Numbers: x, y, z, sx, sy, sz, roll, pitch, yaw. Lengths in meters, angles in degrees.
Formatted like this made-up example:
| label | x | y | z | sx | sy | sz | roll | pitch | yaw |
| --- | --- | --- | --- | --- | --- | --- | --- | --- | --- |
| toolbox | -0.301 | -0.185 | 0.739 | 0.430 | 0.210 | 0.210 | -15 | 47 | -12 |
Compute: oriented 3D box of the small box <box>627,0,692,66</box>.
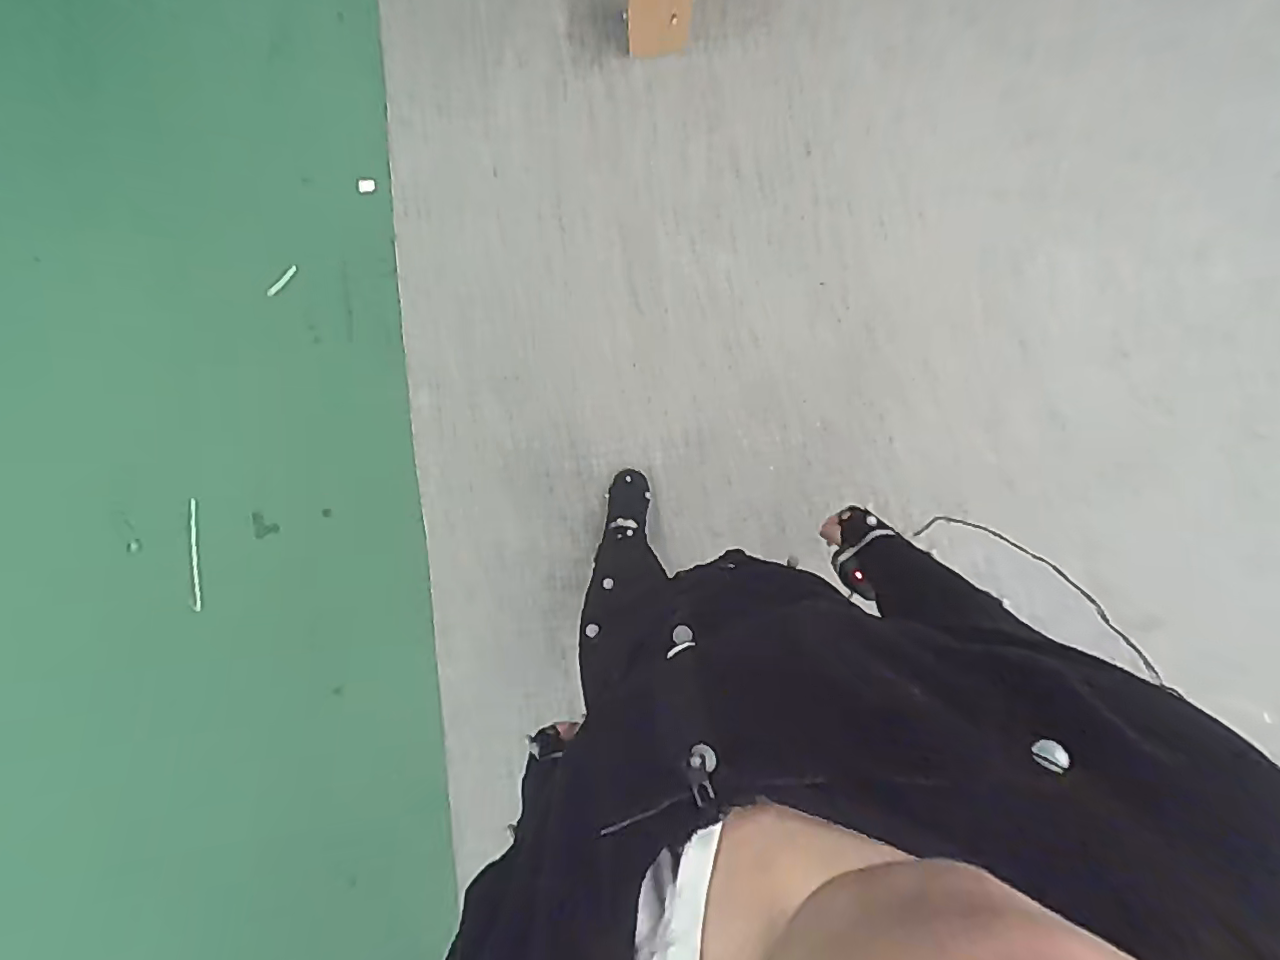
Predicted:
| label | x | y | z | sx | sy | sz | roll | pitch | yaw |
| --- | --- | --- | --- | --- | --- | --- | --- | --- | --- |
| small box | 0.053 | -1.333 | 1.551 | 0.179 | 0.176 | 0.168 | -2 | 85 | 1 |
